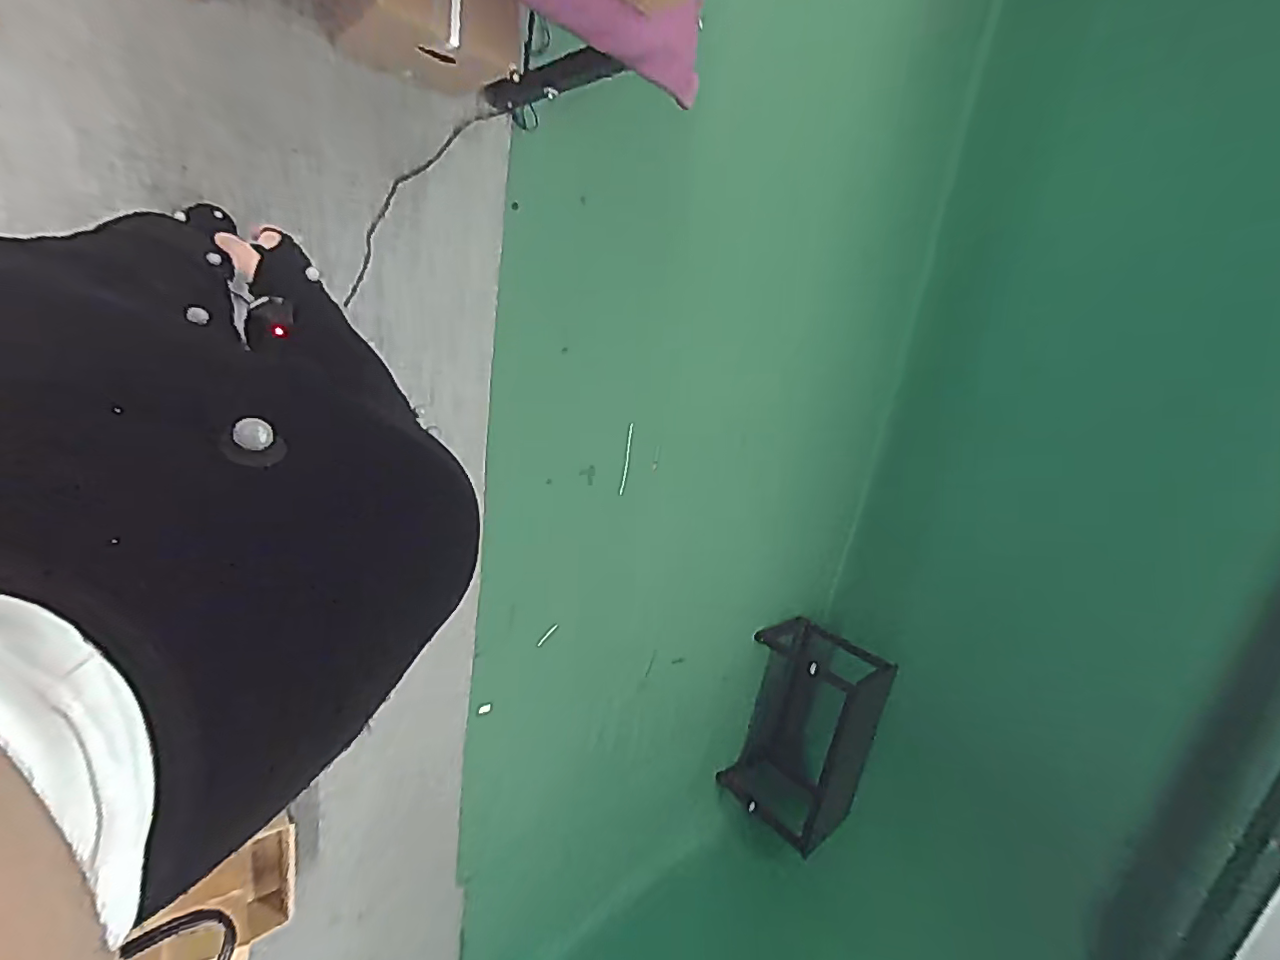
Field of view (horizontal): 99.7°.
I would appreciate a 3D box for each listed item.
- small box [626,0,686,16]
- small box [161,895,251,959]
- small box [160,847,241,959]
[{"bbox_3d":[0.029,-0.899,0.856,0.168,0.176,0.179,-4,107,-42],"label":"small box"},{"bbox_3d":[-1.129,1.242,1.401,0.168,0.176,0.179,7,102,-43],"label":"small box"},{"bbox_3d":[-1.232,1.191,1.516,0.168,0.176,0.179,2,105,-42],"label":"small box"}]
